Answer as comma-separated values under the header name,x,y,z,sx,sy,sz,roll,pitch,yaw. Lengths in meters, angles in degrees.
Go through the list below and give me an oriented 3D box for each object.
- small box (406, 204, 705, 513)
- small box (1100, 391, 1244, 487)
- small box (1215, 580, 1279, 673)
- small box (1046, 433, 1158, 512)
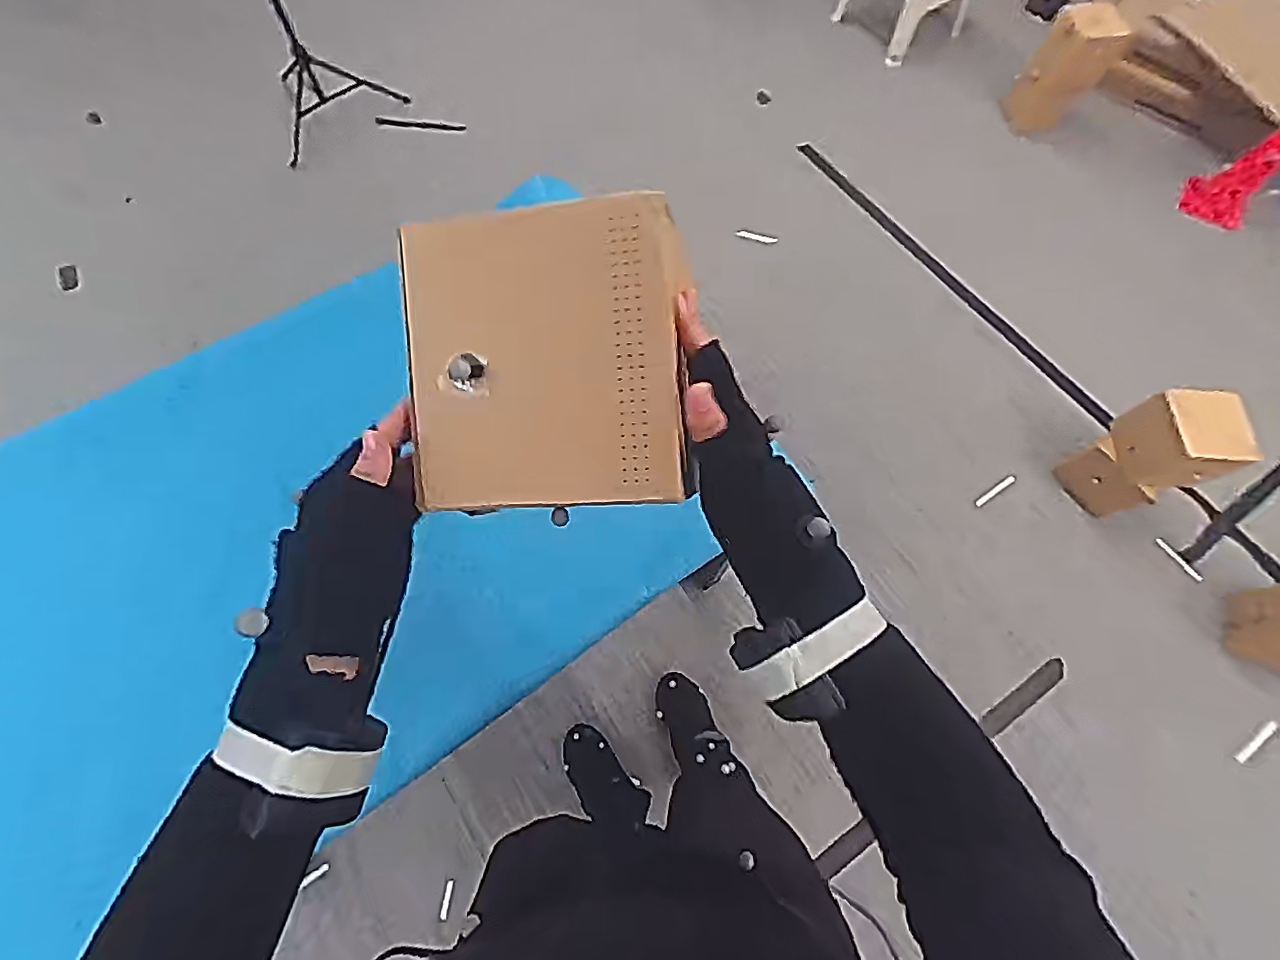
name,x,y,z,sx,sy,sz,roll,pitch,yaw
small box,-0.041,-0.072,0.387,0.176,0.168,0.179,-1,93,7
small box,1.289,-0.096,1.316,0.168,0.176,0.179,3,68,-1
small box,1.588,0.367,1.330,0.179,0.176,0.168,25,72,8
small box,1.274,-0.031,1.470,0.168,0.176,0.179,-30,72,-13
